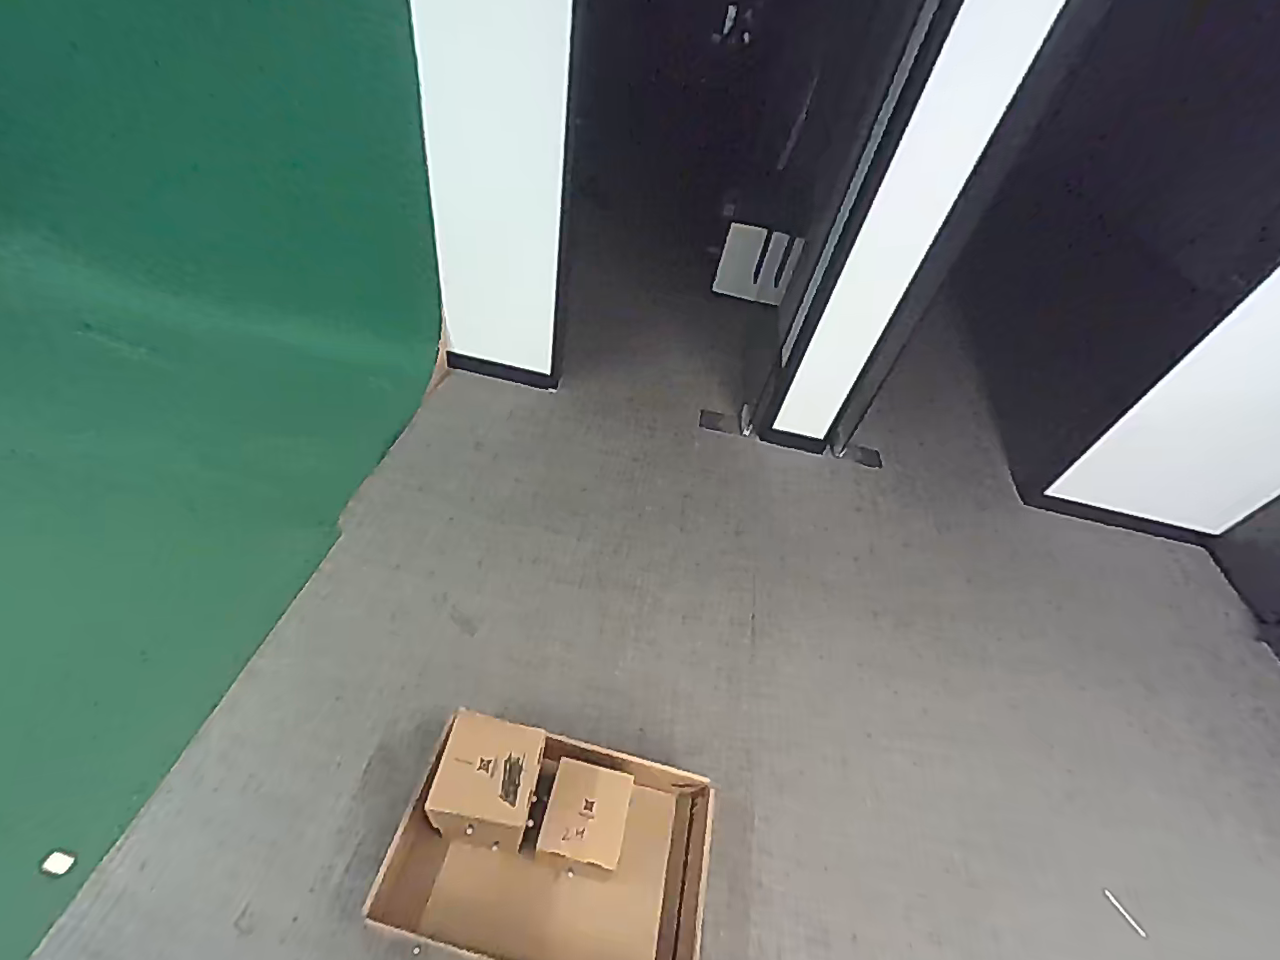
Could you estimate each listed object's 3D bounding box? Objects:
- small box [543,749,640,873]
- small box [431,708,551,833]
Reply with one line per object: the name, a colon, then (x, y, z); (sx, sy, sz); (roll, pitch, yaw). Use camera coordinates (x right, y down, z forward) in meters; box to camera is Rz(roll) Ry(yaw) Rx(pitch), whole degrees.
small box: (-0.106, 0.719, 1.173); (0.168, 0.176, 0.179); (14, 47, 3)
small box: (-0.280, 0.569, 1.051); (0.179, 0.176, 0.168); (11, 47, -1)
